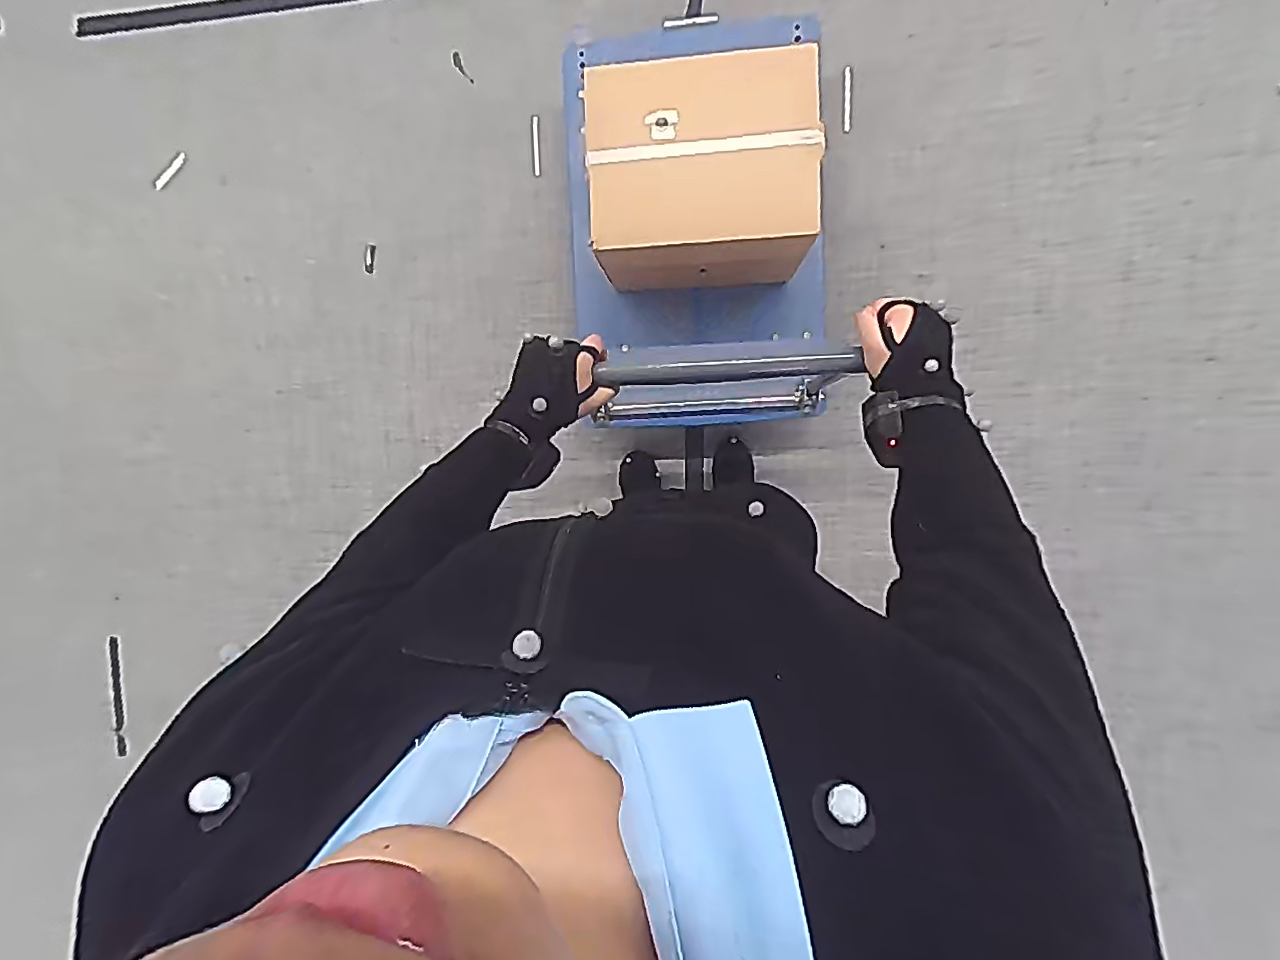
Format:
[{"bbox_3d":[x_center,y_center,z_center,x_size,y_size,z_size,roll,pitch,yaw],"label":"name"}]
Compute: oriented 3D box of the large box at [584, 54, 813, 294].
[{"bbox_3d":[0.121,-0.590,1.116,0.408,0.320,0.320,-2,94,7],"label":"large box"}]
